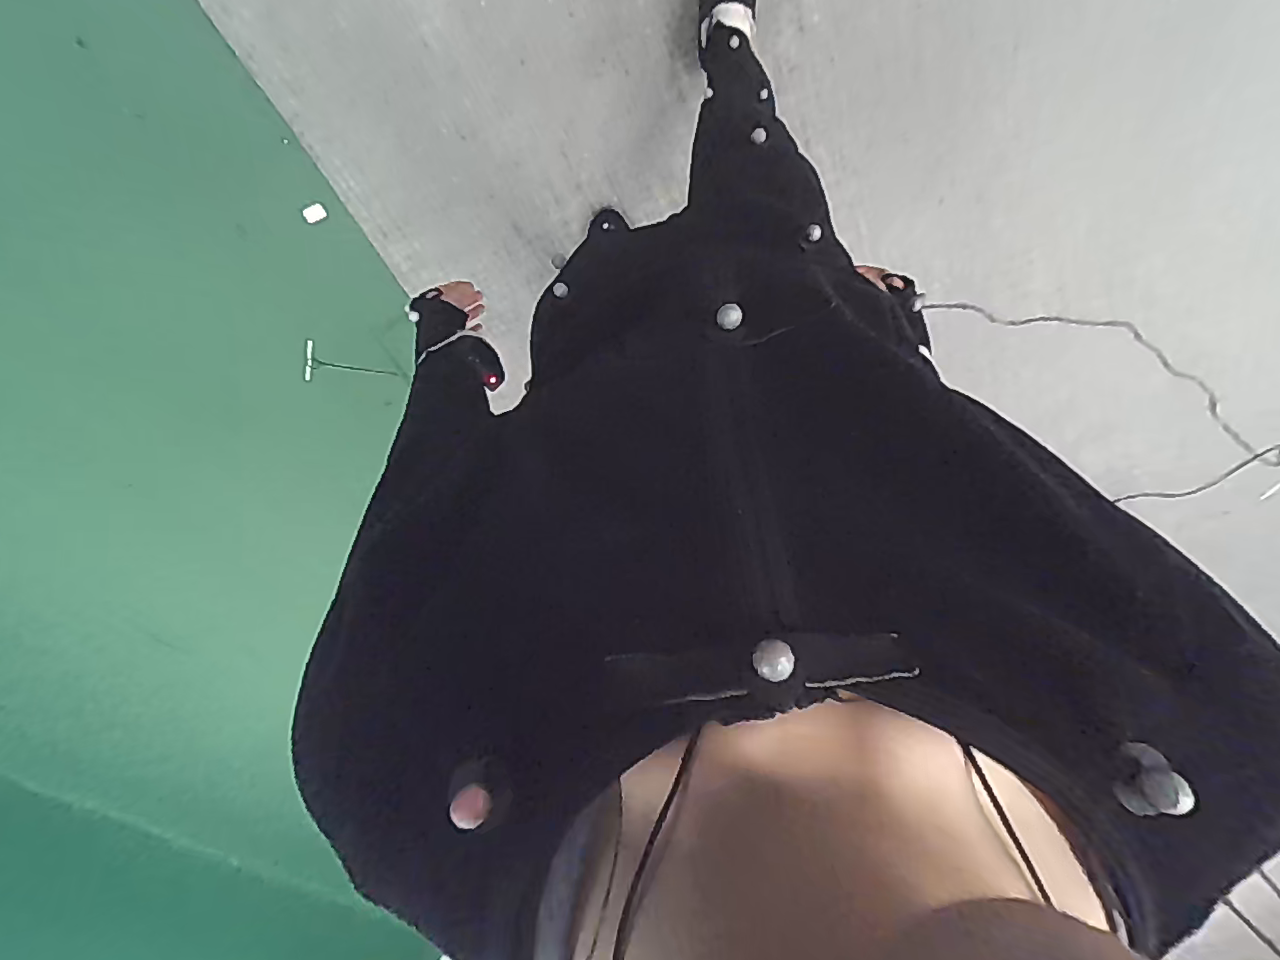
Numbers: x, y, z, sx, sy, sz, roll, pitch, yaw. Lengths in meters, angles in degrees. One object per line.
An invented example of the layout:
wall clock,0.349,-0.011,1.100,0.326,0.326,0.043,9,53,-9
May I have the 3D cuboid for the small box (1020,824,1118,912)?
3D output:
small box,1.300,1.185,1.655,0.179,0.176,0.168,-20,126,12
